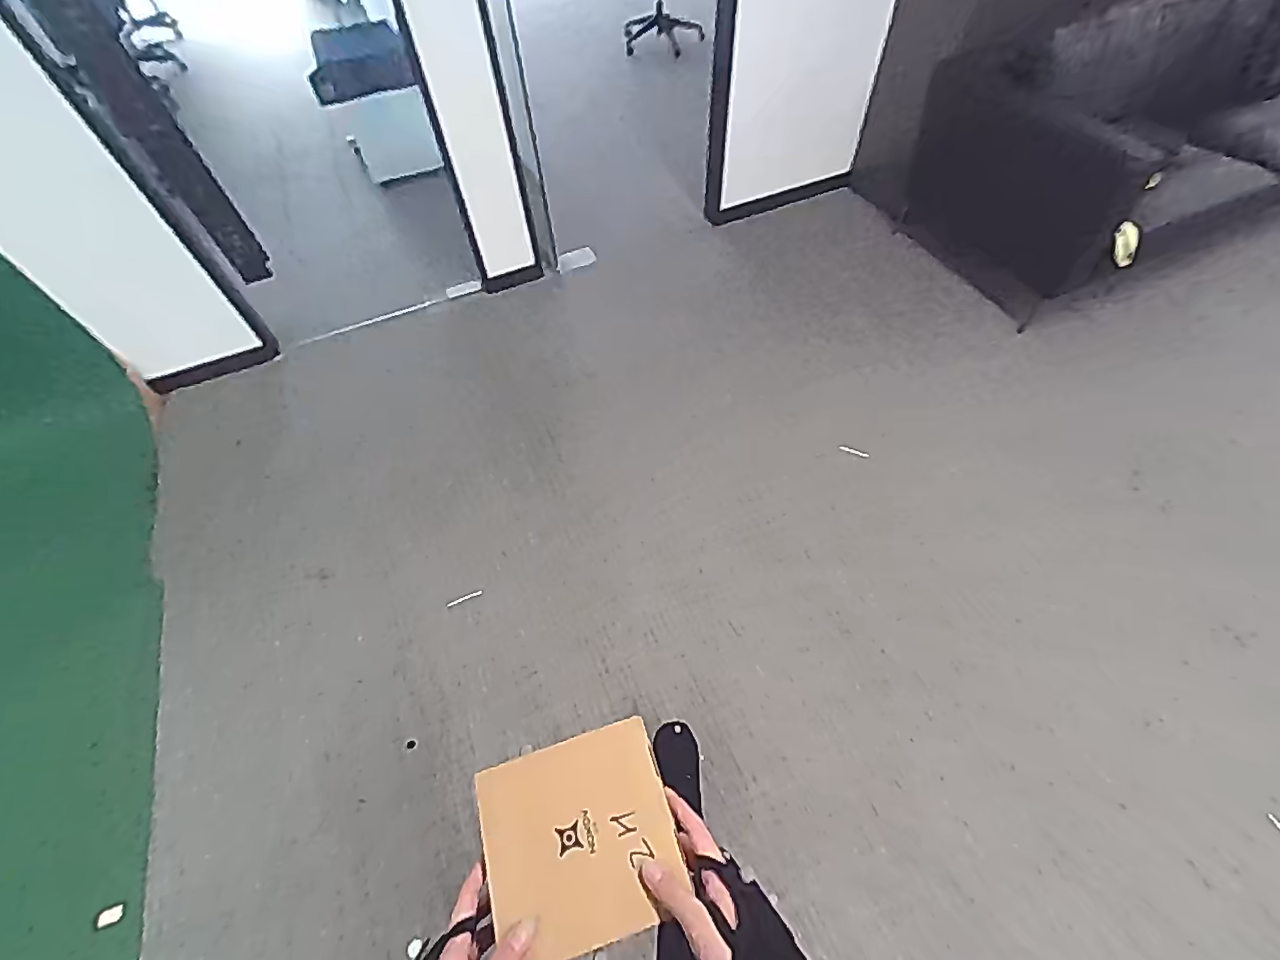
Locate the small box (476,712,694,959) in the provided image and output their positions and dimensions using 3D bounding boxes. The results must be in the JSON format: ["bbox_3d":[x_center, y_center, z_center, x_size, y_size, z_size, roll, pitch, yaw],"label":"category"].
[{"bbox_3d":[-0.051,0.368,0.562,0.179,0.176,0.168,-16,56,-7],"label":"small box"}]
